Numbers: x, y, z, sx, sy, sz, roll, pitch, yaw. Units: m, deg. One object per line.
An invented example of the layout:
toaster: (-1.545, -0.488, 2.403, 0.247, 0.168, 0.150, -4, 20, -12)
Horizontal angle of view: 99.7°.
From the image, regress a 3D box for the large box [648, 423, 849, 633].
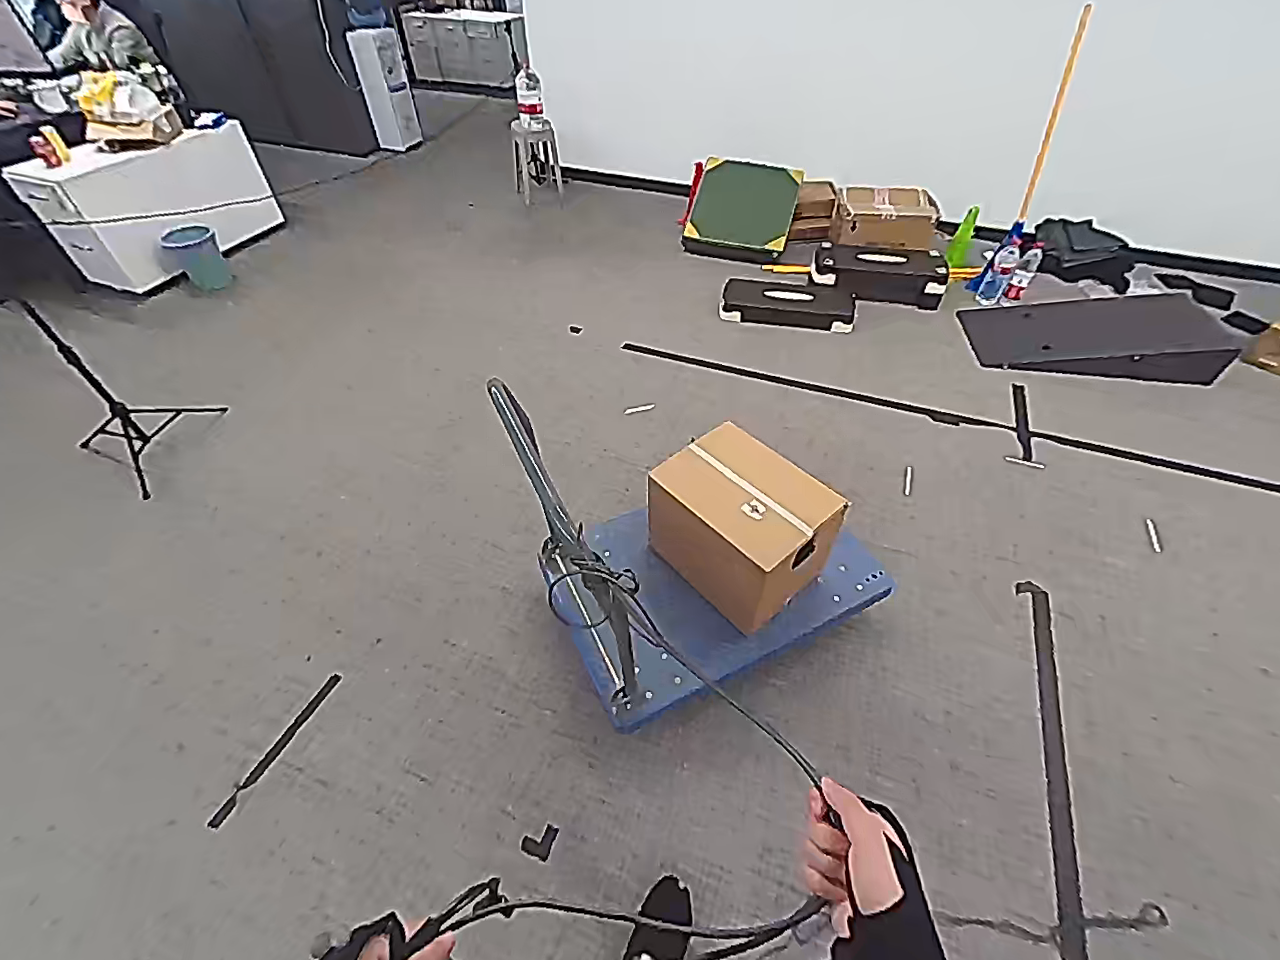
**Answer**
large box: (0.265, 0.121, 1.456, 0.320, 0.320, 0.408, -34, 56, -25)
